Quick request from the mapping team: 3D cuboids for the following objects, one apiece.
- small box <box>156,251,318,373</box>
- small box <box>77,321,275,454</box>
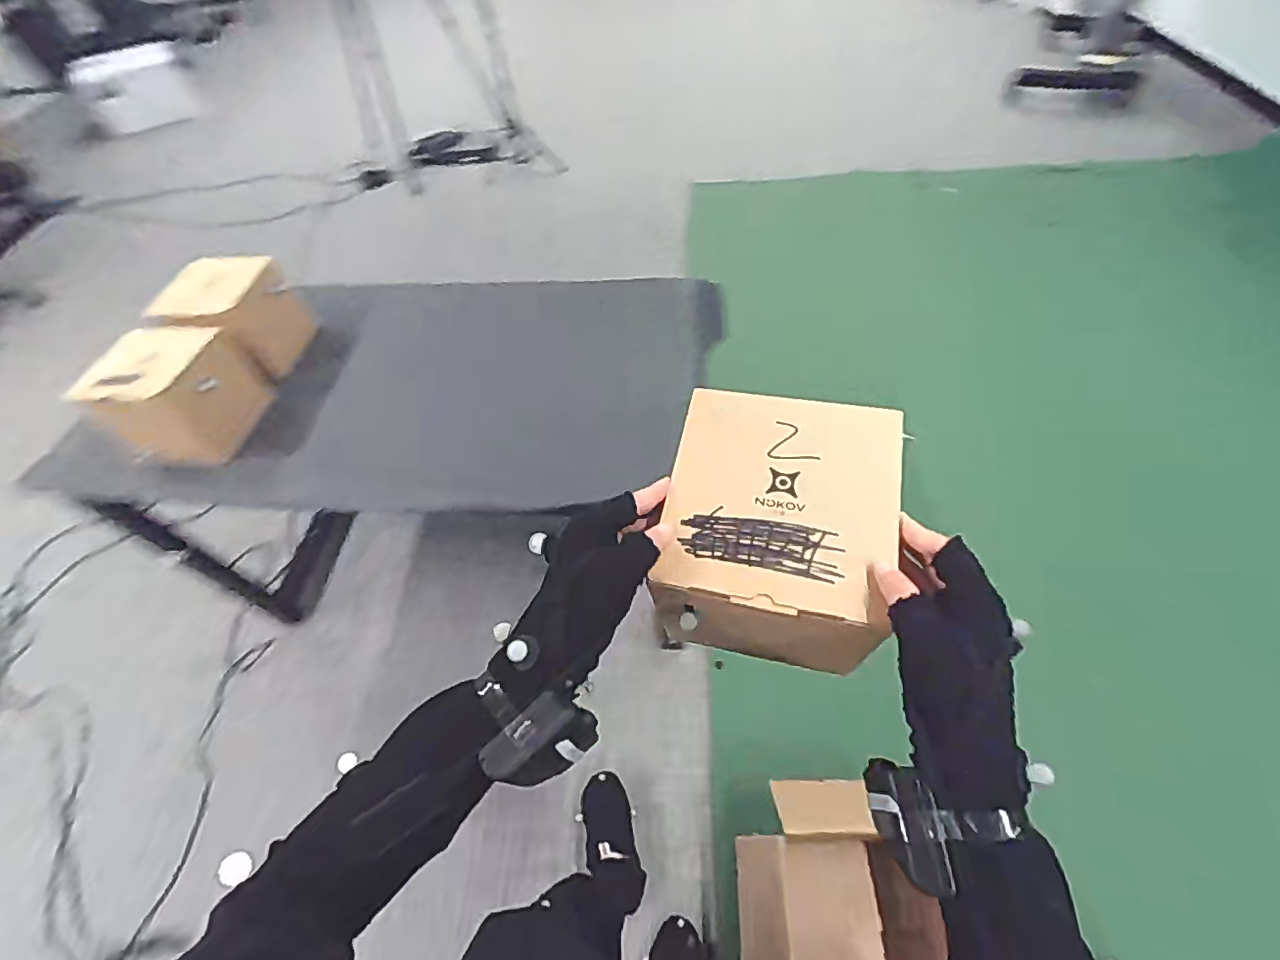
[{"bbox_3d":[-0.792,-0.338,1.090,0.168,0.176,0.179,1,55,6],"label":"small box"},{"bbox_3d":[-0.805,-0.161,0.965,0.168,0.176,0.179,3,53,6],"label":"small box"}]
